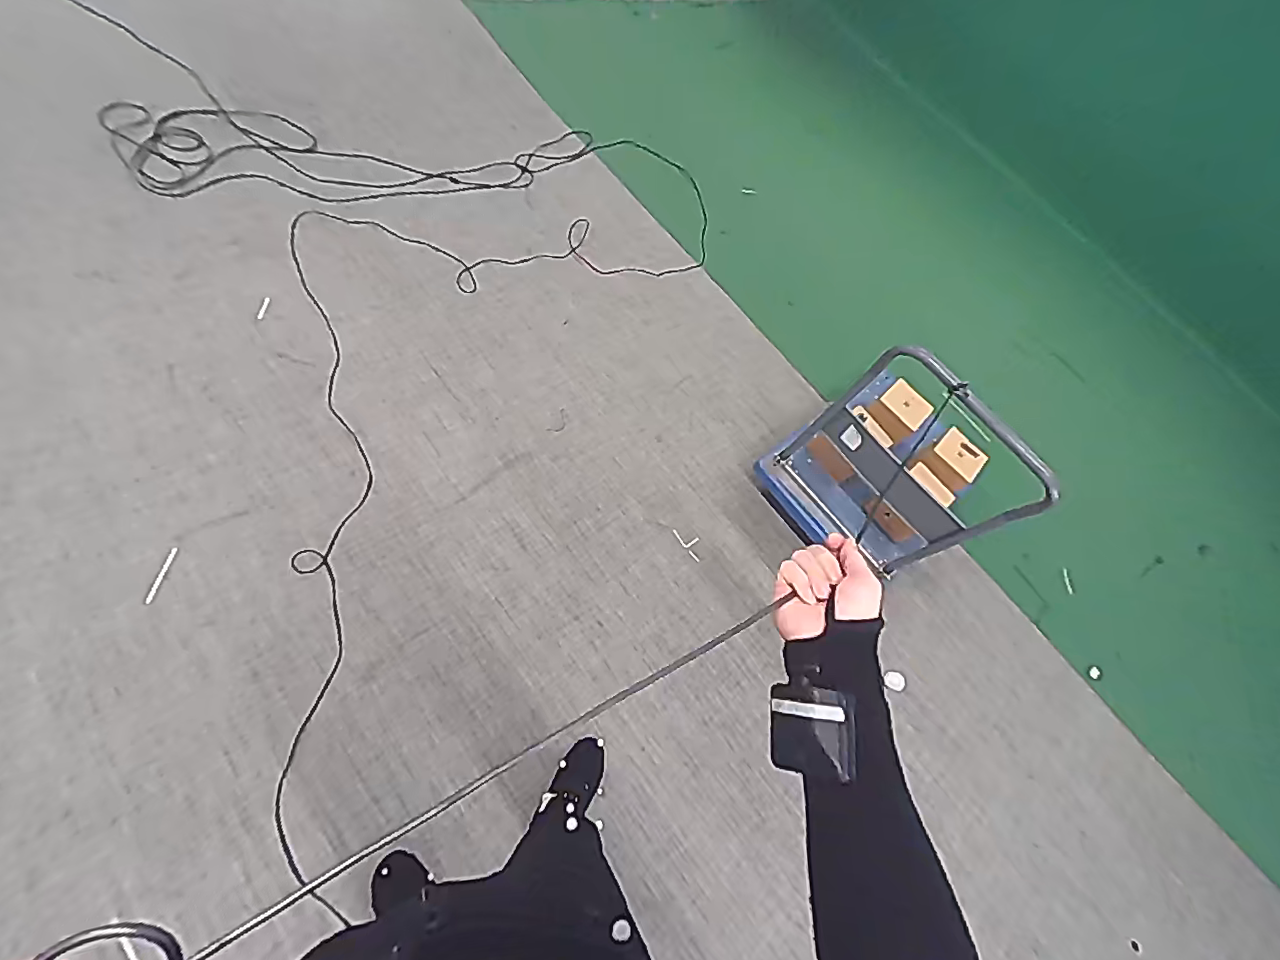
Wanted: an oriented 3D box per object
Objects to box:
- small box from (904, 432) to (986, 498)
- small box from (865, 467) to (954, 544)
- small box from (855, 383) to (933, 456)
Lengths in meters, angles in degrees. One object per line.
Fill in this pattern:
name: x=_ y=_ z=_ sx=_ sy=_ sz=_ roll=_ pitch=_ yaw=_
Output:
small box: x=1.099 y=-0.039 z=1.959 sx=0.179 sy=0.176 sz=0.168 roll=-37 pitch=78 yaw=-30
small box: x=0.902 y=0.088 z=1.825 sx=0.179 sy=0.176 sz=0.168 roll=-32 pitch=76 yaw=-29
small box: x=0.929 y=-0.219 z=2.000 sx=0.179 sy=0.176 sz=0.168 roll=-37 pitch=80 yaw=-31
